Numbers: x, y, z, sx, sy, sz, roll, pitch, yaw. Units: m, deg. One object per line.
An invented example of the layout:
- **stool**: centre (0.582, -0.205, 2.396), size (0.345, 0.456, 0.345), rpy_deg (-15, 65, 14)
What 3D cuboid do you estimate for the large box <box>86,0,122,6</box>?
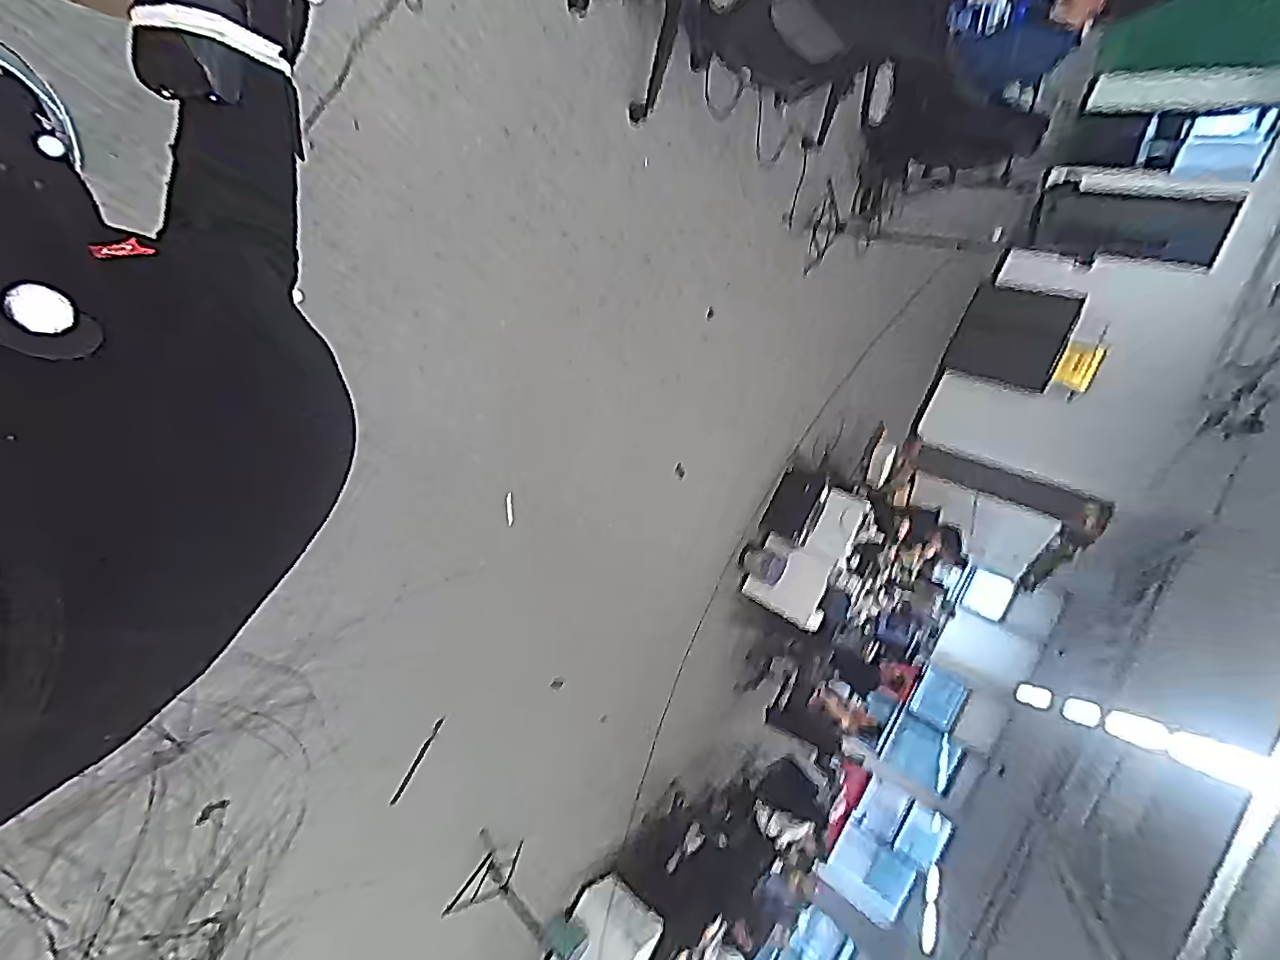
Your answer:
- **large box**: centre (-0.493, -0.504, 0.239), size (0.408, 0.320, 0.320), rpy_deg (-10, 124, -50)
